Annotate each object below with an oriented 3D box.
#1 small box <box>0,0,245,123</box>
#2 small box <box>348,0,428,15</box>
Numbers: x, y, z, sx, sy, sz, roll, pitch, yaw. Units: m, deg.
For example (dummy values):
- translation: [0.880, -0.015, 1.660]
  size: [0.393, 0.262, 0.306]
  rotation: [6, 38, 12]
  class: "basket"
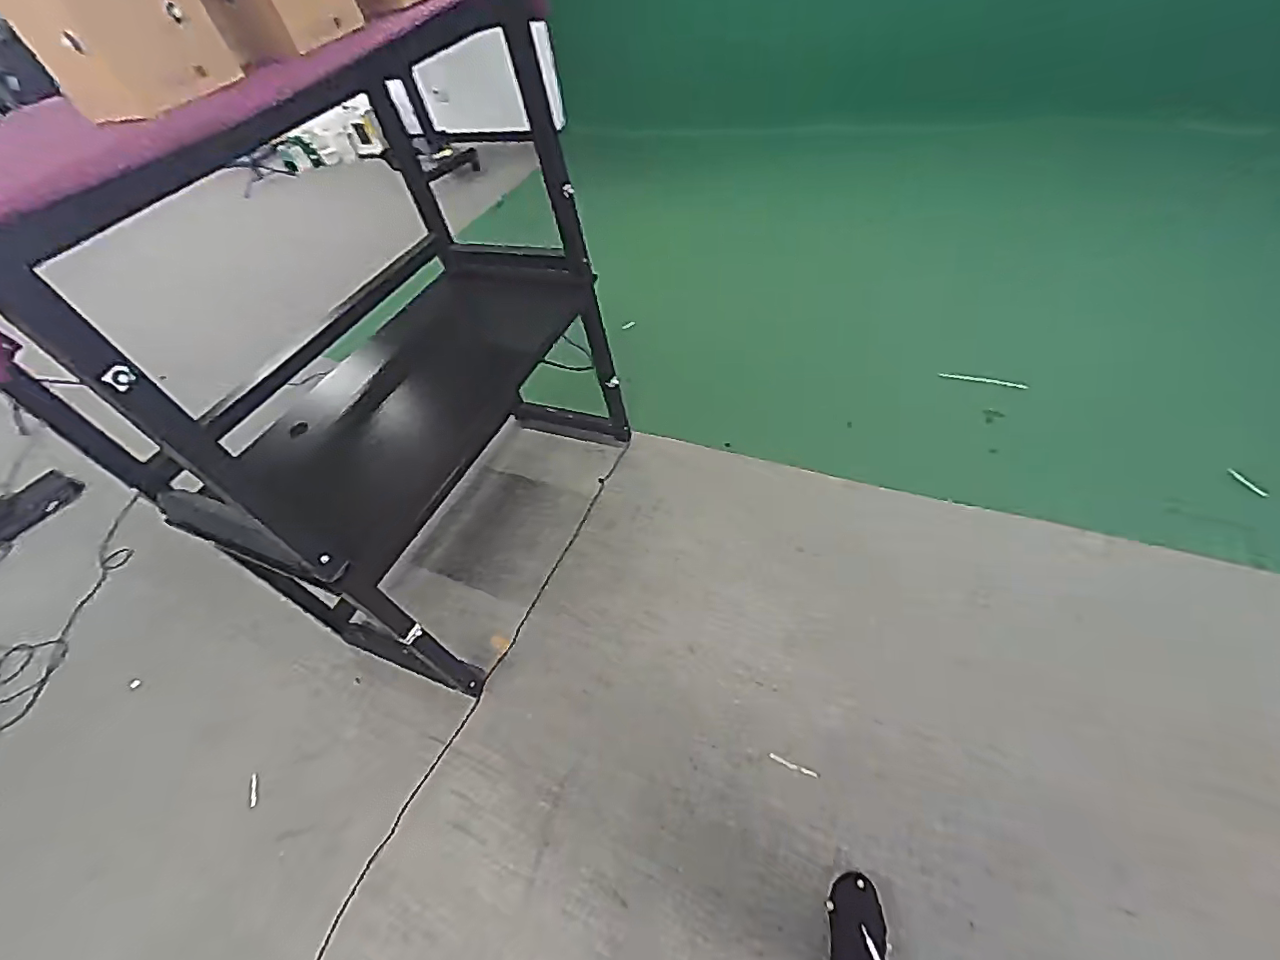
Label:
- translation: [-0.719, -0.627, 0.761]
  size: [0.179, 0.176, 0.168]
  rotation: [15, 54, 24]
  class: "small box"
- translation: [-0.496, -1.037, 1.056]
  size: [0.168, 0.176, 0.179]
  rotation: [14, 55, 23]
  class: "small box"
